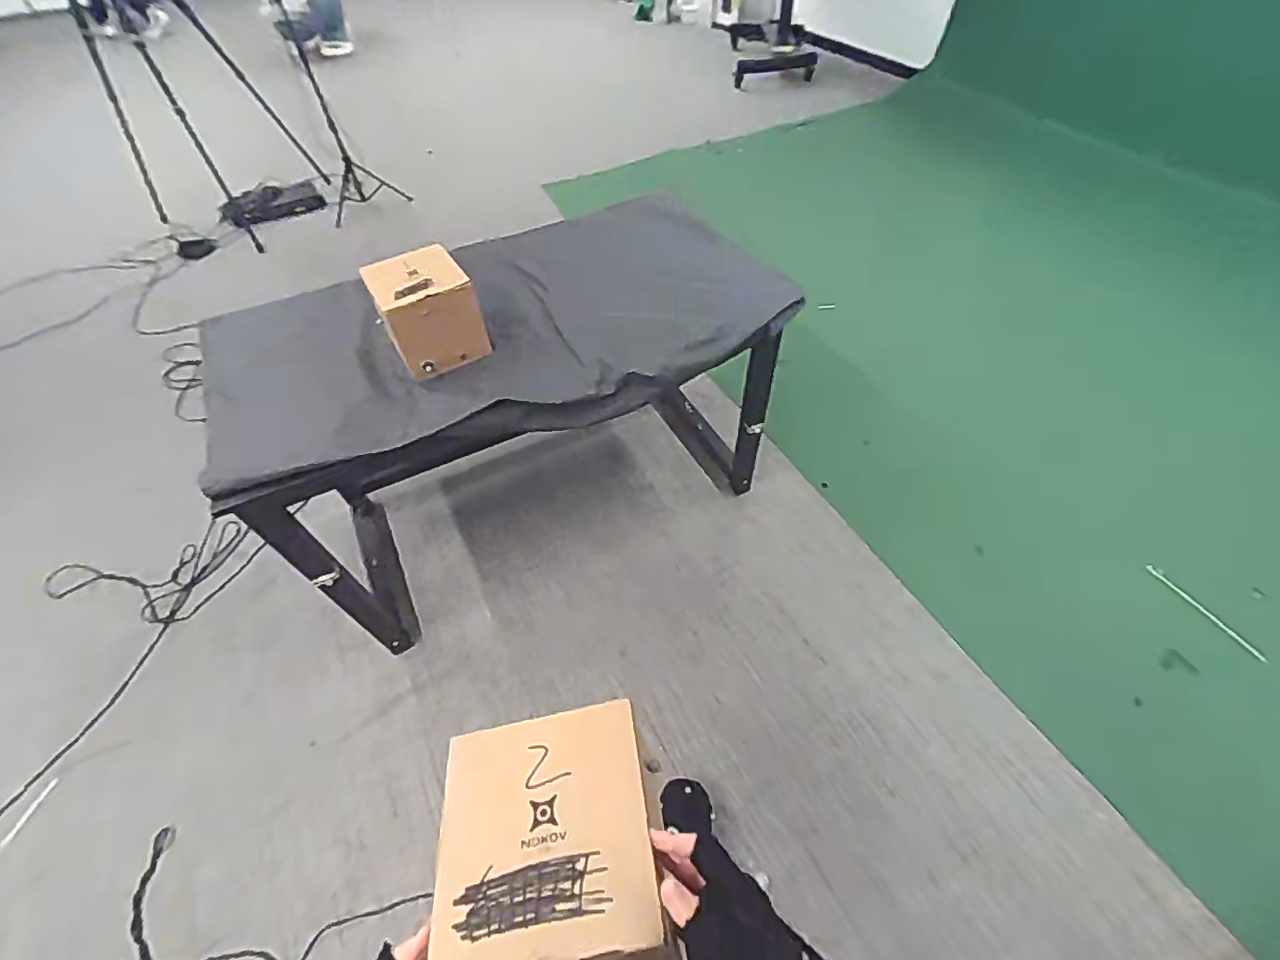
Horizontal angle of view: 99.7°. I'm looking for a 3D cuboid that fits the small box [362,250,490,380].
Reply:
[{"bbox_3d":[-0.419,-0.320,1.077,0.168,0.176,0.179,-27,55,-18],"label":"small box"}]
